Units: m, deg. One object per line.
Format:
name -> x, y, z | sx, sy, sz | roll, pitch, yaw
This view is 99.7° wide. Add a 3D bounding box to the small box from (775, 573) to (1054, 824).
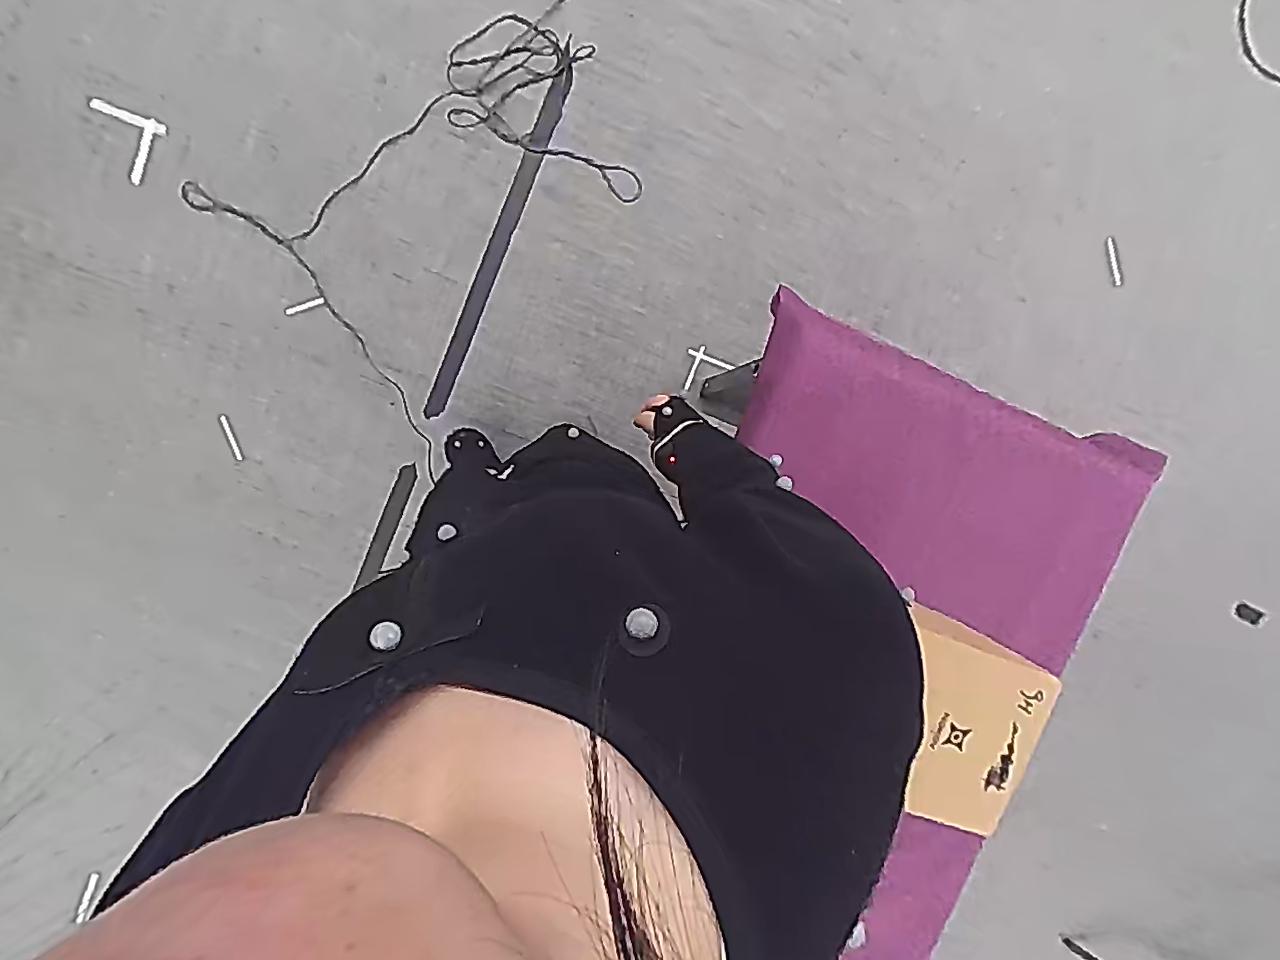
small box -> 0.271, 0.214, 0.579 | 0.179, 0.176, 0.168 | 22, 94, -8
